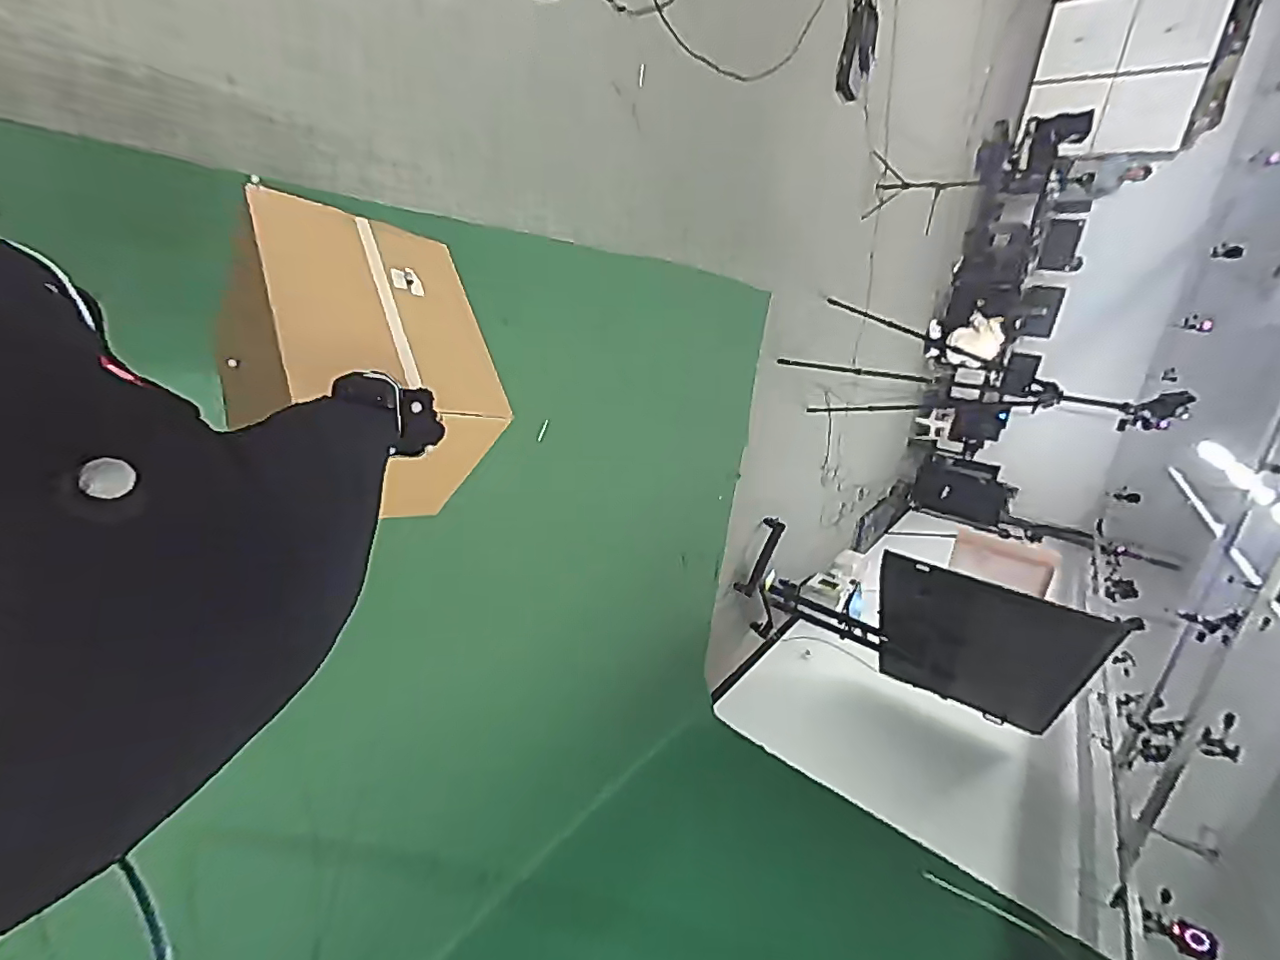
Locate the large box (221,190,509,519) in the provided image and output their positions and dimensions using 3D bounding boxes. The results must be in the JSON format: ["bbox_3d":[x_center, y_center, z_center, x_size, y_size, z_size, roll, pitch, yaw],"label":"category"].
[{"bbox_3d":[-0.486,-0.189,0.928,0.320,0.408,0.320,-2,149,-47],"label":"large box"}]
